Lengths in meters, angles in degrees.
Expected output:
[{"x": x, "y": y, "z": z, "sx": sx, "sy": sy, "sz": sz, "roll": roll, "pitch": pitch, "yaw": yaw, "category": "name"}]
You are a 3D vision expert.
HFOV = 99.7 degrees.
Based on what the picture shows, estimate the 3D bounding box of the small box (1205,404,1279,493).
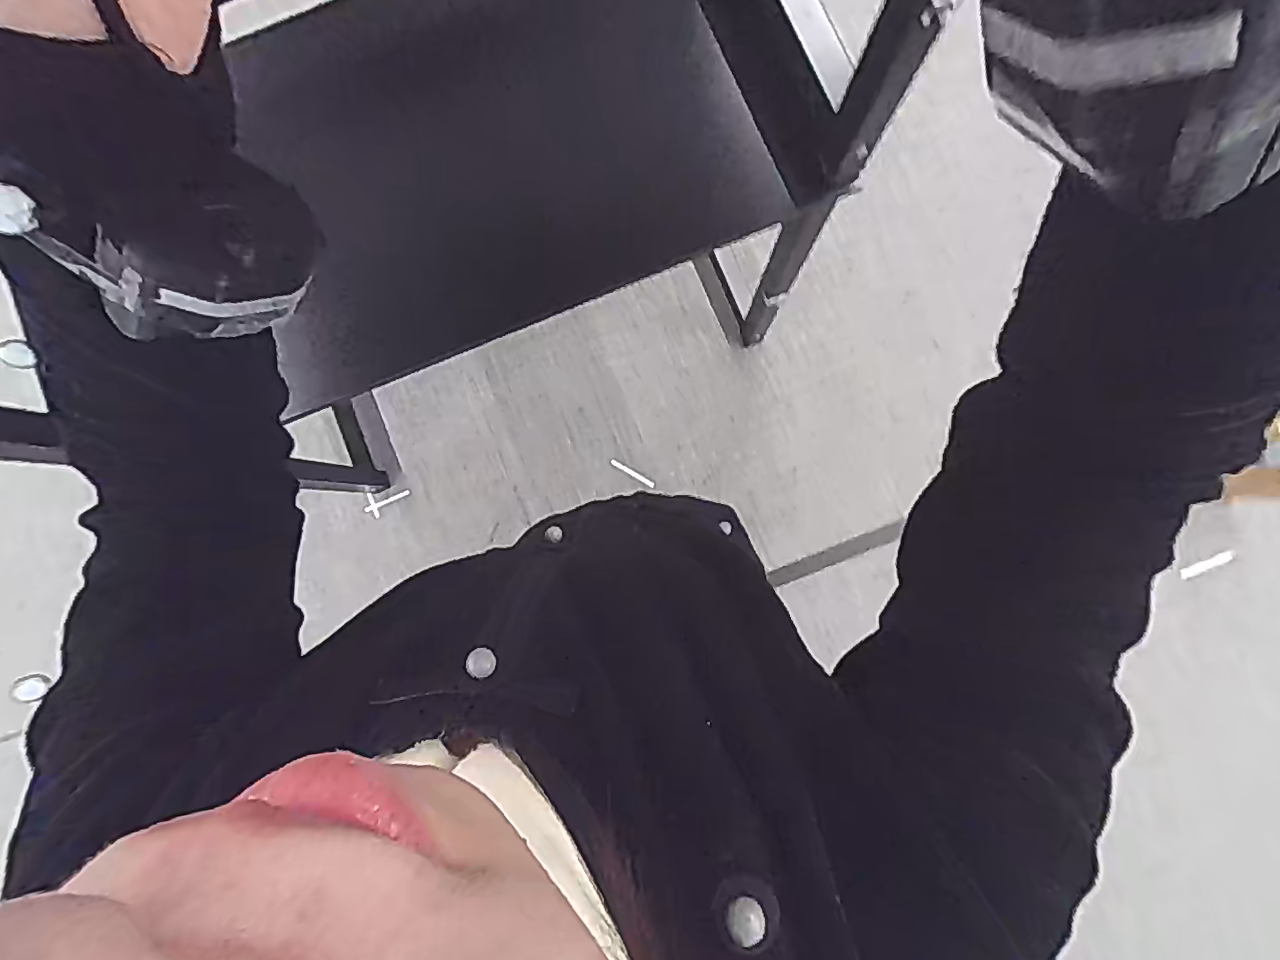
[{"x": 1.431, "y": -0.074, "z": 1.203, "sx": 0.179, "sy": 0.176, "sz": 0.168, "roll": -21, "pitch": 87, "yaw": -1, "category": "small box"}]
